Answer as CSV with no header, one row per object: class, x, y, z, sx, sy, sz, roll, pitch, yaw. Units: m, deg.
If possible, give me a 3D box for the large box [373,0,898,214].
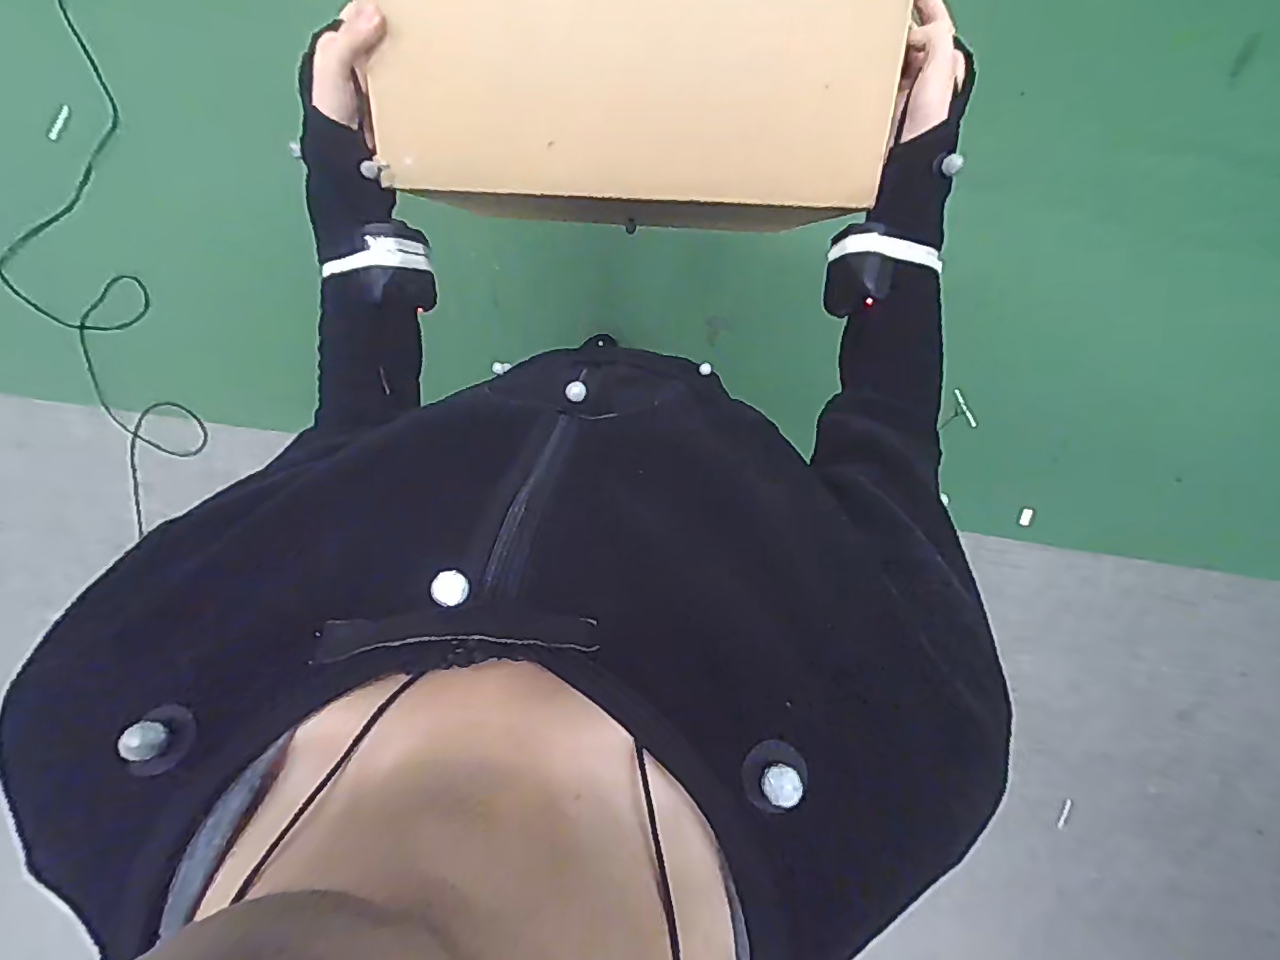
large box,-0.001,-0.444,0.533,0.408,0.320,0.320,2,112,-1
